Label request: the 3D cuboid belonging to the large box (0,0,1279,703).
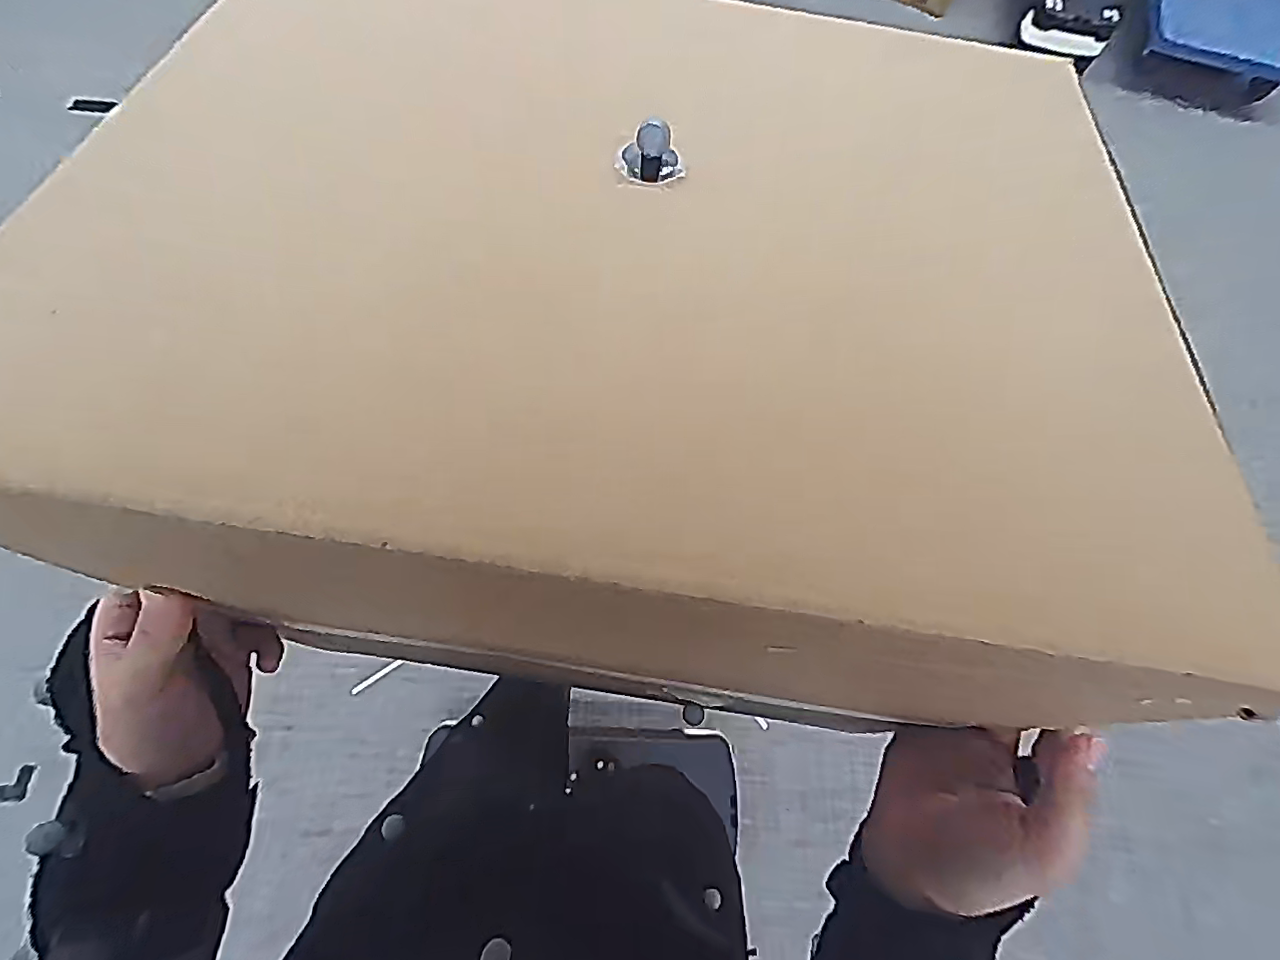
[{"bbox_3d":[-0.010,-0.059,0.344,0.408,0.320,0.320,8,65,0],"label":"large box"}]
